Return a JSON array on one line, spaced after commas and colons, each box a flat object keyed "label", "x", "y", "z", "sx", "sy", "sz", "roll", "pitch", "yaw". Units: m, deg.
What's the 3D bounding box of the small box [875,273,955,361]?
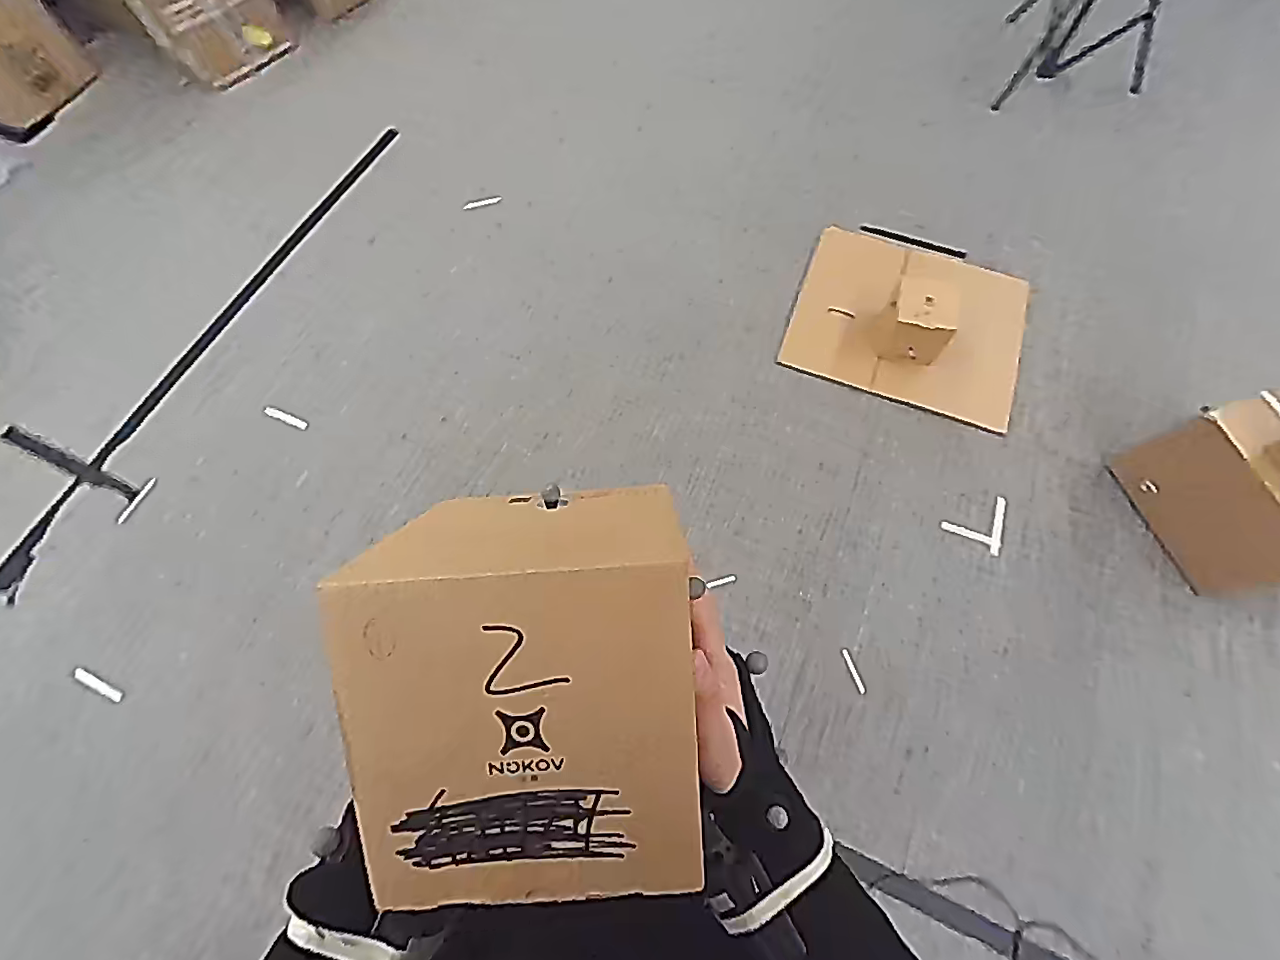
[{"label": "small box", "x": 0.820, "y": -0.486, "z": 1.623, "sx": 0.168, "sy": 0.176, "sz": 0.179, "roll": 11, "pitch": 69, "yaw": 8}]
